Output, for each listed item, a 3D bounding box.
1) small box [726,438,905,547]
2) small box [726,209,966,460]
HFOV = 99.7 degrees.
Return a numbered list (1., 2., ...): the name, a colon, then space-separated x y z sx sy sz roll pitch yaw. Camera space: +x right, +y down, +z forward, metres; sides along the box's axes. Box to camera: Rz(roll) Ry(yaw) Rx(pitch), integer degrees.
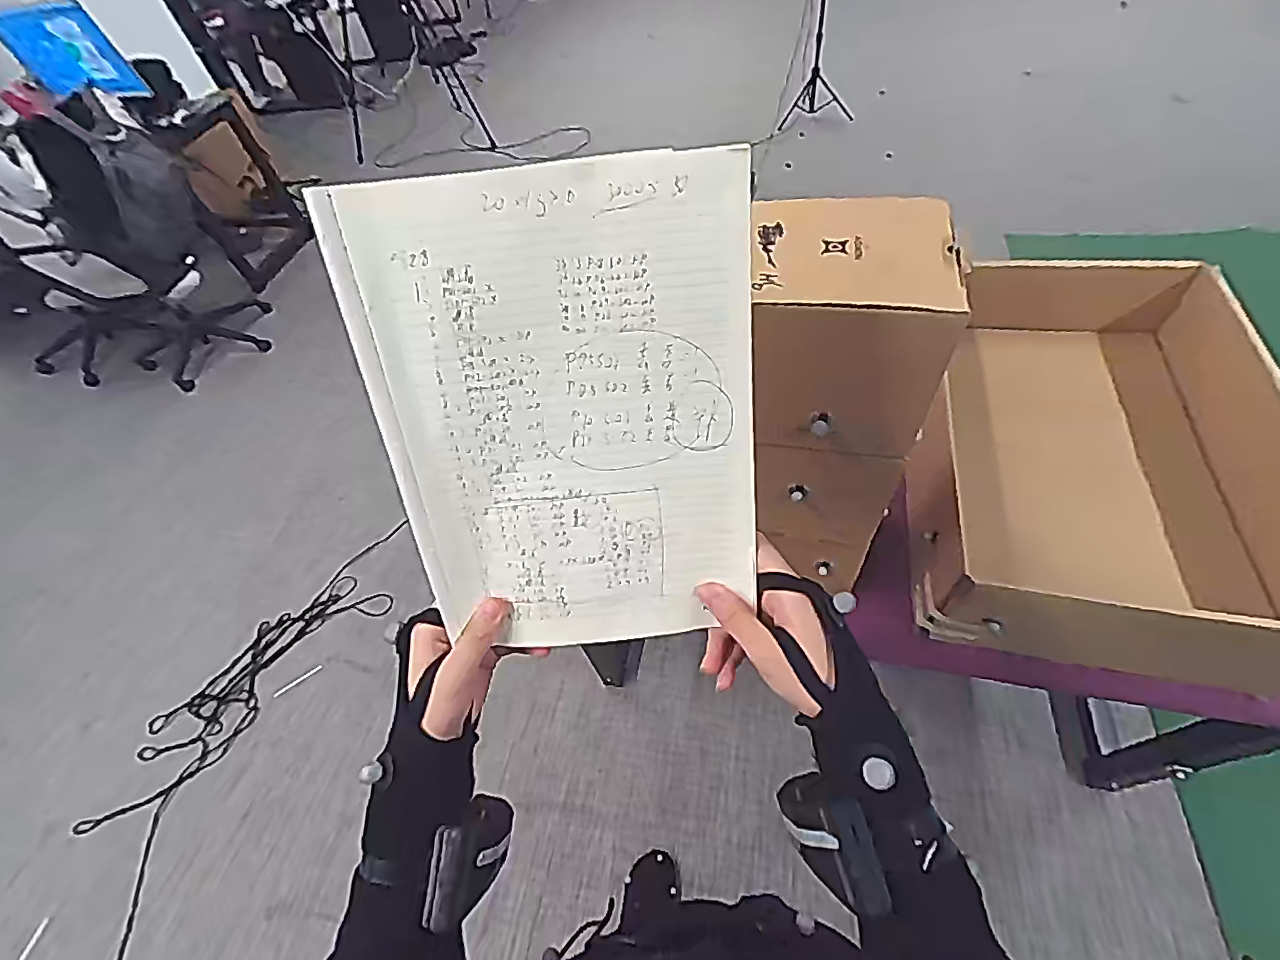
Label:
1. small box: 0.203 -0.036 0.651 0.179 0.176 0.168 7 53 15
2. small box: 0.183 -0.137 0.523 0.179 0.176 0.168 7 53 13
